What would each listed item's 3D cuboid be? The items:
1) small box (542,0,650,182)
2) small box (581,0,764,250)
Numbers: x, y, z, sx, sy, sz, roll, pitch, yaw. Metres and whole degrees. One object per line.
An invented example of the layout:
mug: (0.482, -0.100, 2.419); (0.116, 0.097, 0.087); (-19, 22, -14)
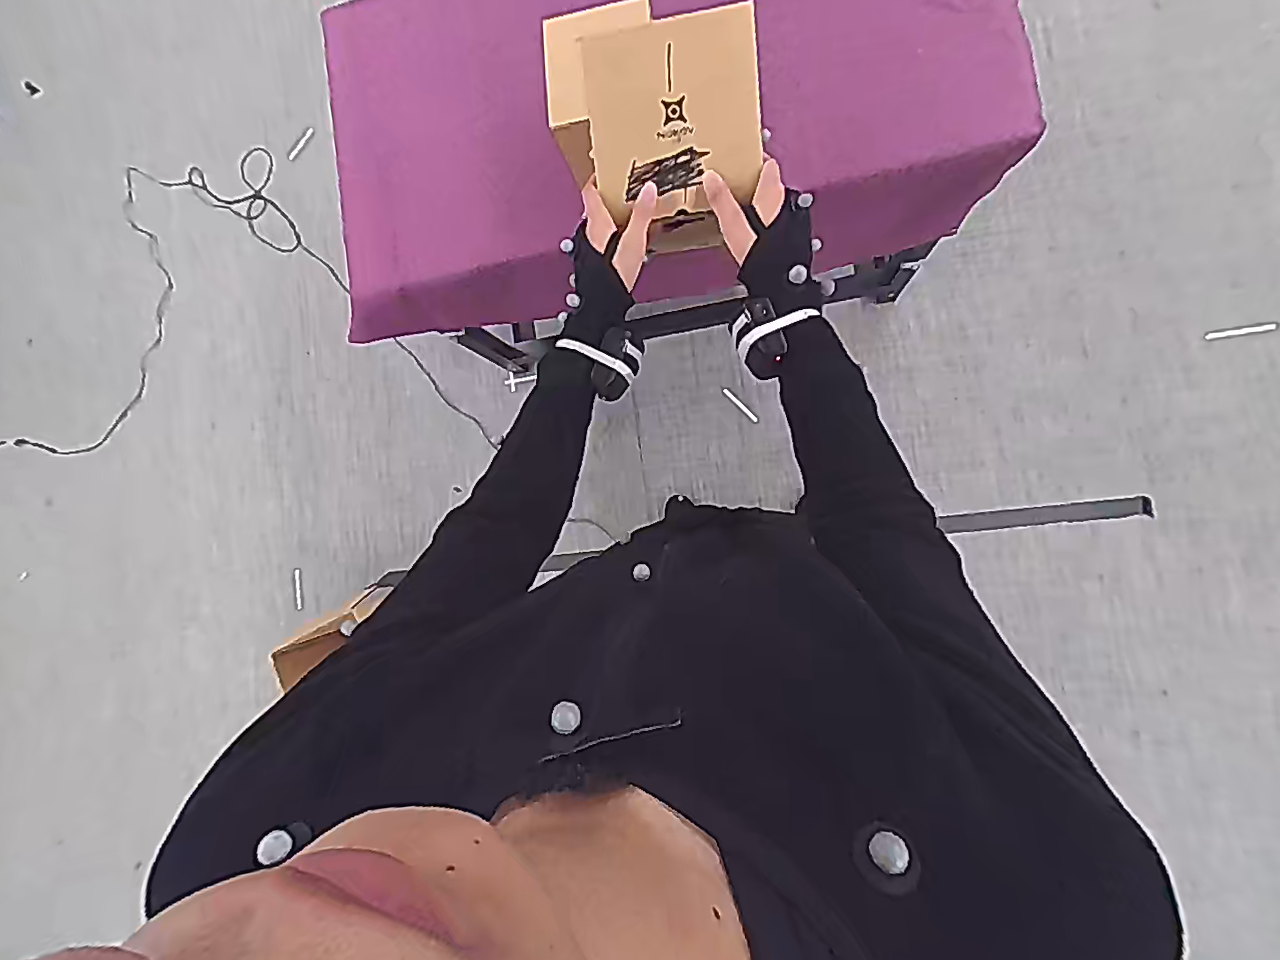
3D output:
small box: (-0.048, -0.614, 0.878); (0.168, 0.176, 0.179); (-5, 86, 10)
small box: (0.042, -0.362, 0.594); (0.168, 0.176, 0.179); (-5, 101, 8)
